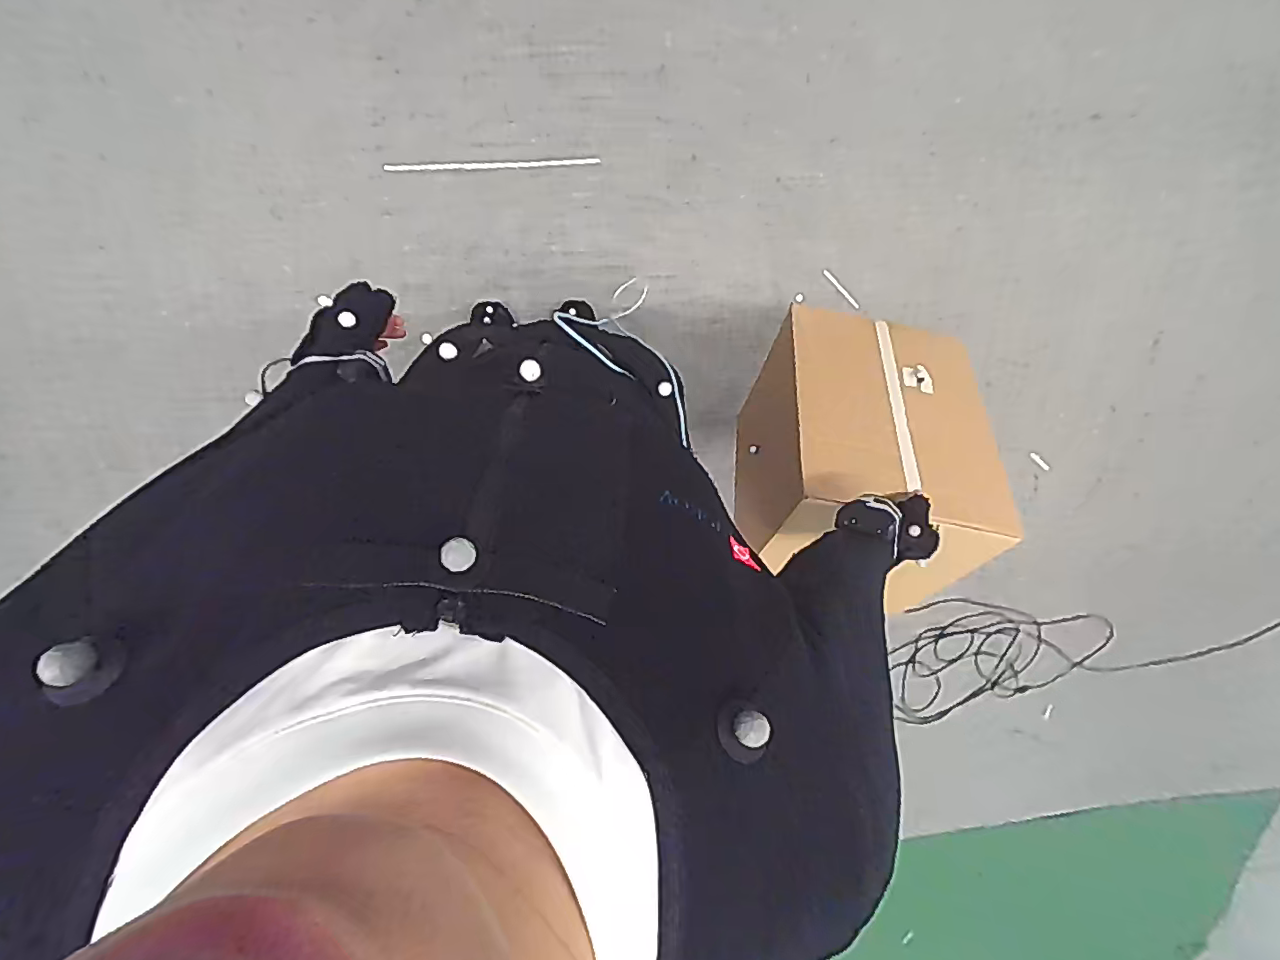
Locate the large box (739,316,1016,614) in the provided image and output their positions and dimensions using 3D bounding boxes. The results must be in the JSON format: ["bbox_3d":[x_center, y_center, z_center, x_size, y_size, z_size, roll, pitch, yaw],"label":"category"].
[{"bbox_3d":[0.369,-0.018,0.967,0.320,0.408,0.320,12,145,-4],"label":"large box"}]
